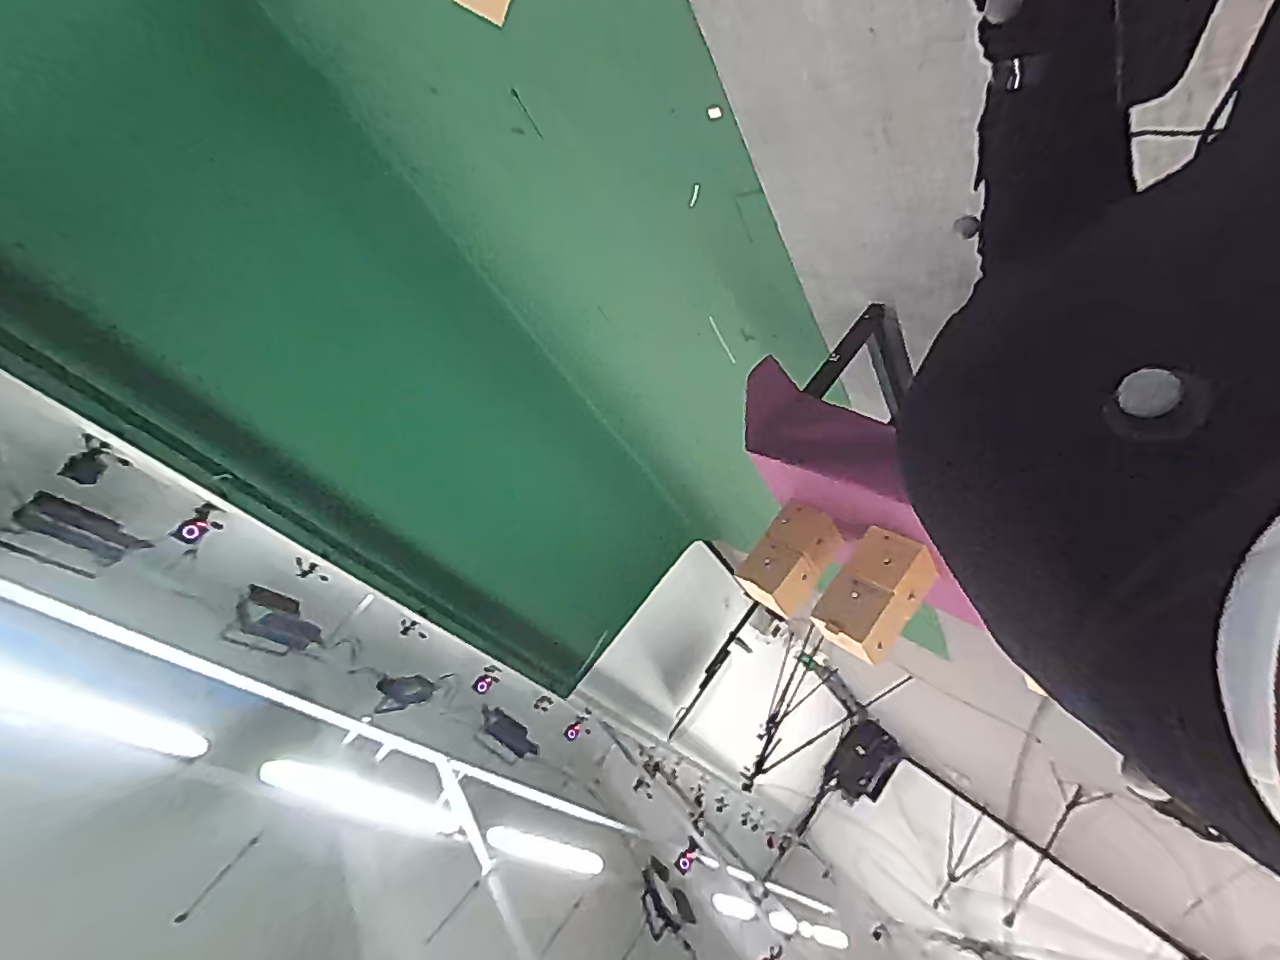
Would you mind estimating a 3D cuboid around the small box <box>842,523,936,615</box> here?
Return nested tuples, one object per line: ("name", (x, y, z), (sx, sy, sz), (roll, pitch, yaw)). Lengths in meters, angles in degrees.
("small box", (0.719, 0.251, 1.557), (0.168, 0.176, 0.179), (24, 161, 51))

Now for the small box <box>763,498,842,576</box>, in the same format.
("small box", (0.550, 0.186, 1.822), (0.168, 0.176, 0.179), (26, 162, 48))

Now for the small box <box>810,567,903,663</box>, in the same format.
("small box", (0.617, 0.378, 1.528), (0.168, 0.176, 0.179), (26, 162, 48))

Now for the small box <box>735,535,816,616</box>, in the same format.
("small box", (0.451, 0.310, 1.782), (0.168, 0.176, 0.179), (27, 162, 49))
